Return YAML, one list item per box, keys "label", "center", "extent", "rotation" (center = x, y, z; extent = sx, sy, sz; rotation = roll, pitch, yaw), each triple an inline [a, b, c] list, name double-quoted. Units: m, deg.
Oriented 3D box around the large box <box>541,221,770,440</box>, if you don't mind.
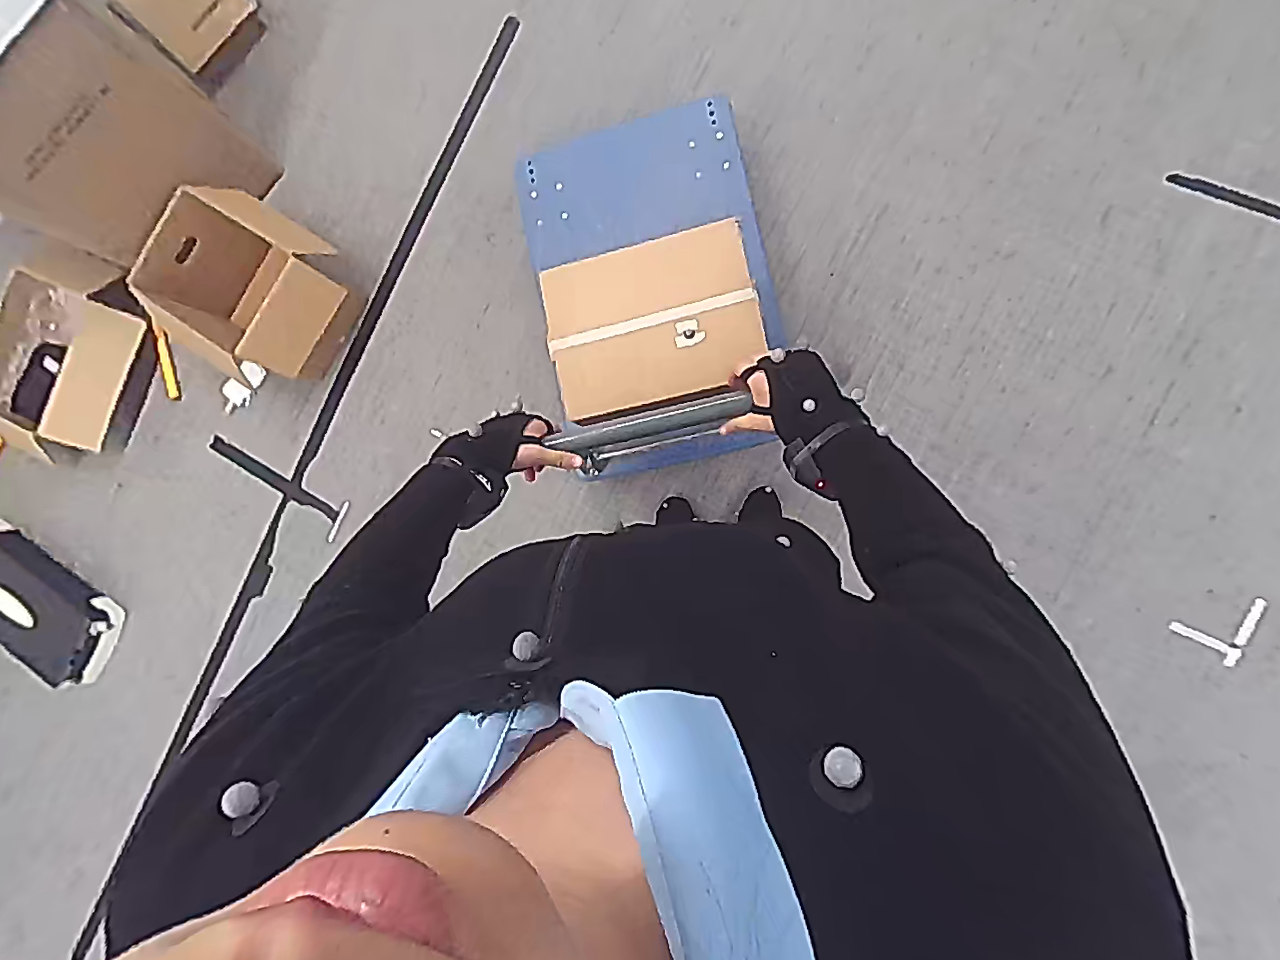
- label: "large box"
  center: [0.042, -0.297, 1.196]
  extent: [0.408, 0.320, 0.320]
  rotation: [-13, 86, 7]
